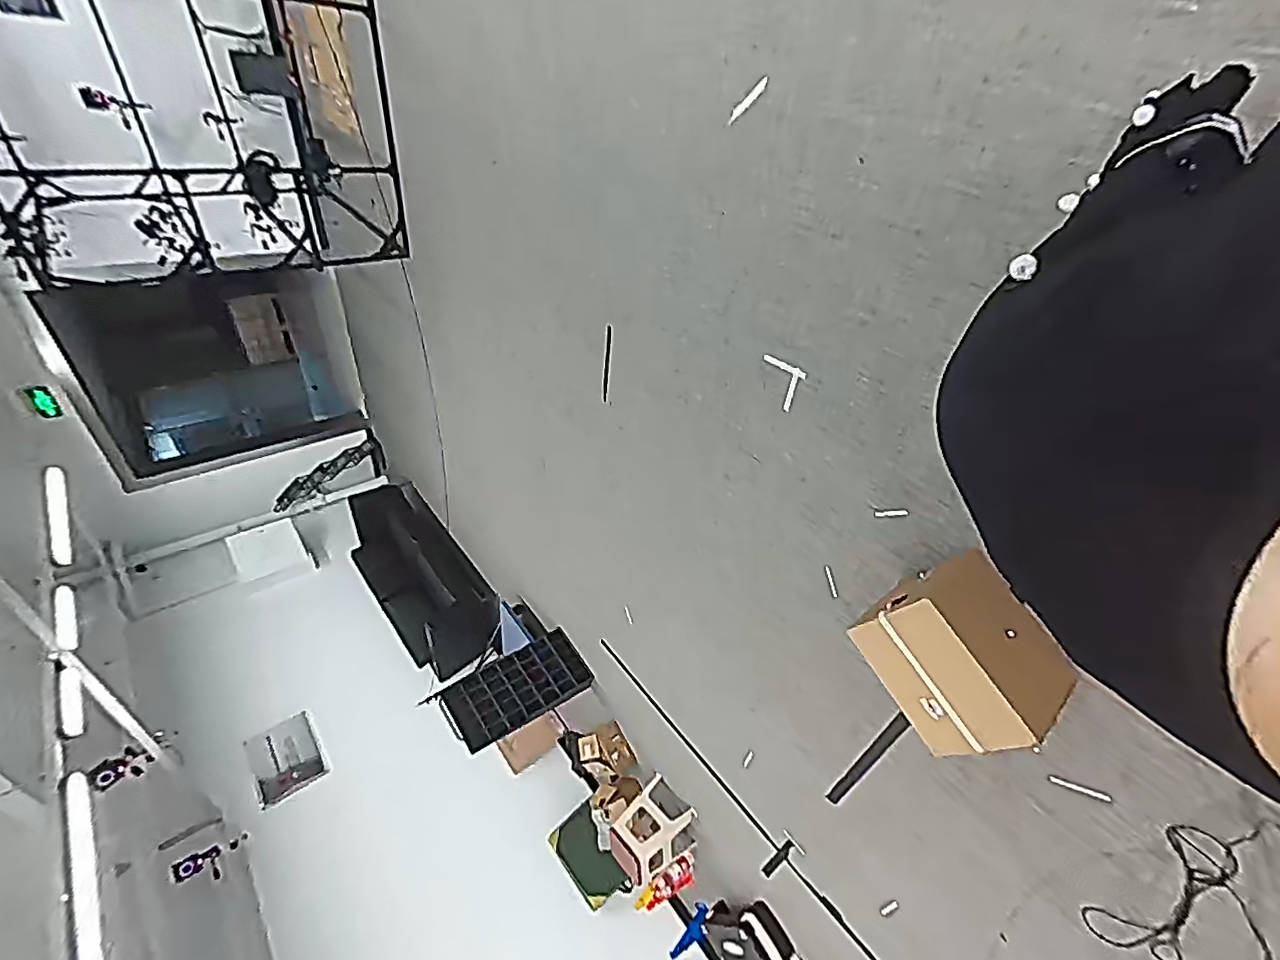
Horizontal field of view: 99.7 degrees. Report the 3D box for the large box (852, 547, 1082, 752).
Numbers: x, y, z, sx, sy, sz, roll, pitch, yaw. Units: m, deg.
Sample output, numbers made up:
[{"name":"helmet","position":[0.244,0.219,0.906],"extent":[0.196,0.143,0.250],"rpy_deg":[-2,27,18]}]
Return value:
[{"name":"large box","position":[0.893,0.464,1.500],"extent":[0.408,0.320,0.320],"rpy_deg":[56,145,14]}]
